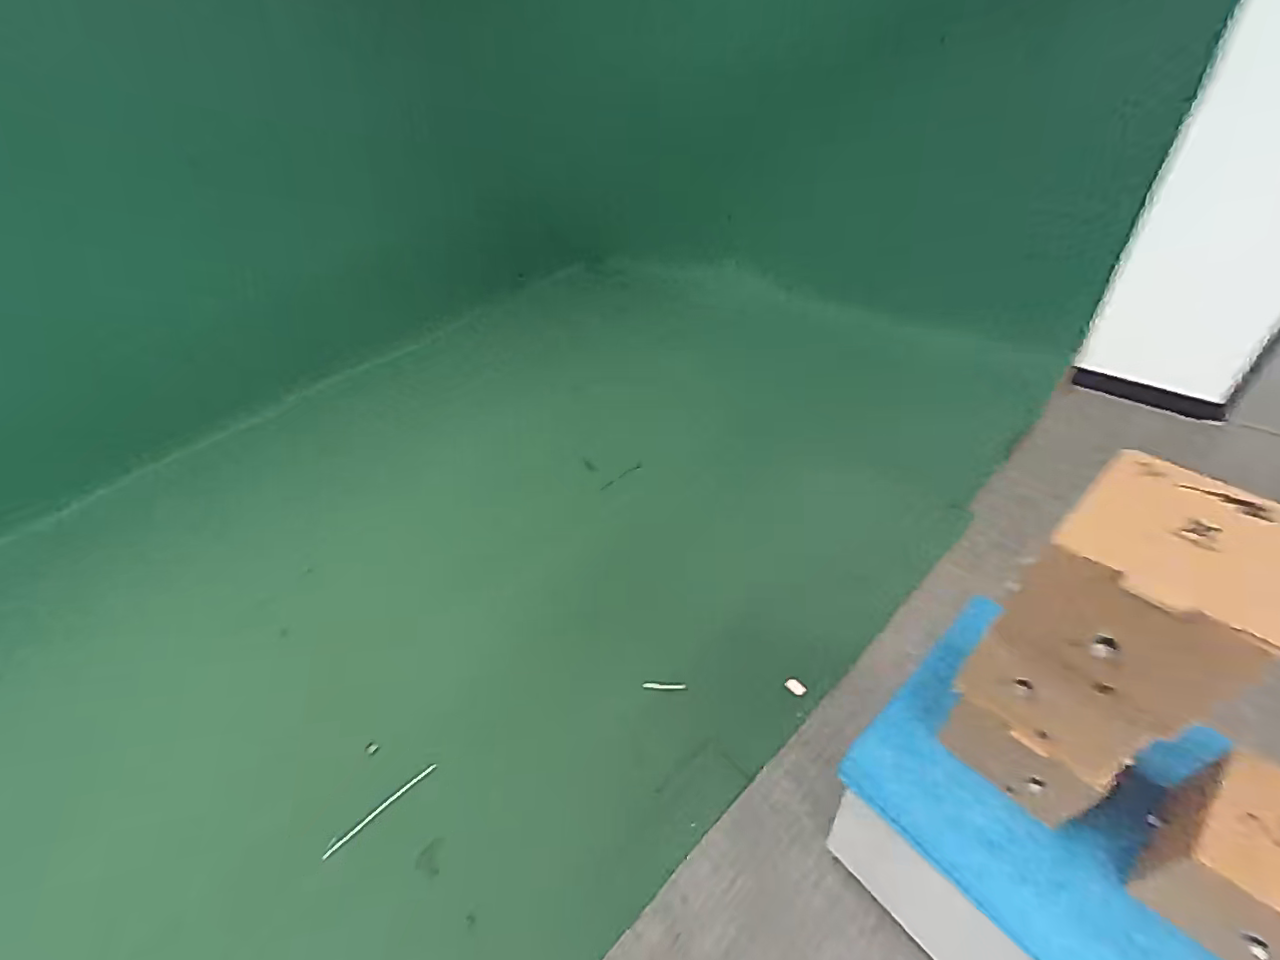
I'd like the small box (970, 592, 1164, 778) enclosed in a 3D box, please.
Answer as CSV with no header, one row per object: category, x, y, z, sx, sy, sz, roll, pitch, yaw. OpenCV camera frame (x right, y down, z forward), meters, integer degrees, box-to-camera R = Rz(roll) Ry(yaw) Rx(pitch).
small box,0.531,0.215,0.649,0.179,0.176,0.168,-32,48,-22

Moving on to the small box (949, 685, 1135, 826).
small box,0.562,0.336,0.752,0.179,0.176,0.168,-34,49,-23

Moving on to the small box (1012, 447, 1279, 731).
small box,0.504,0.105,0.529,0.179,0.176,0.168,-33,48,-22
